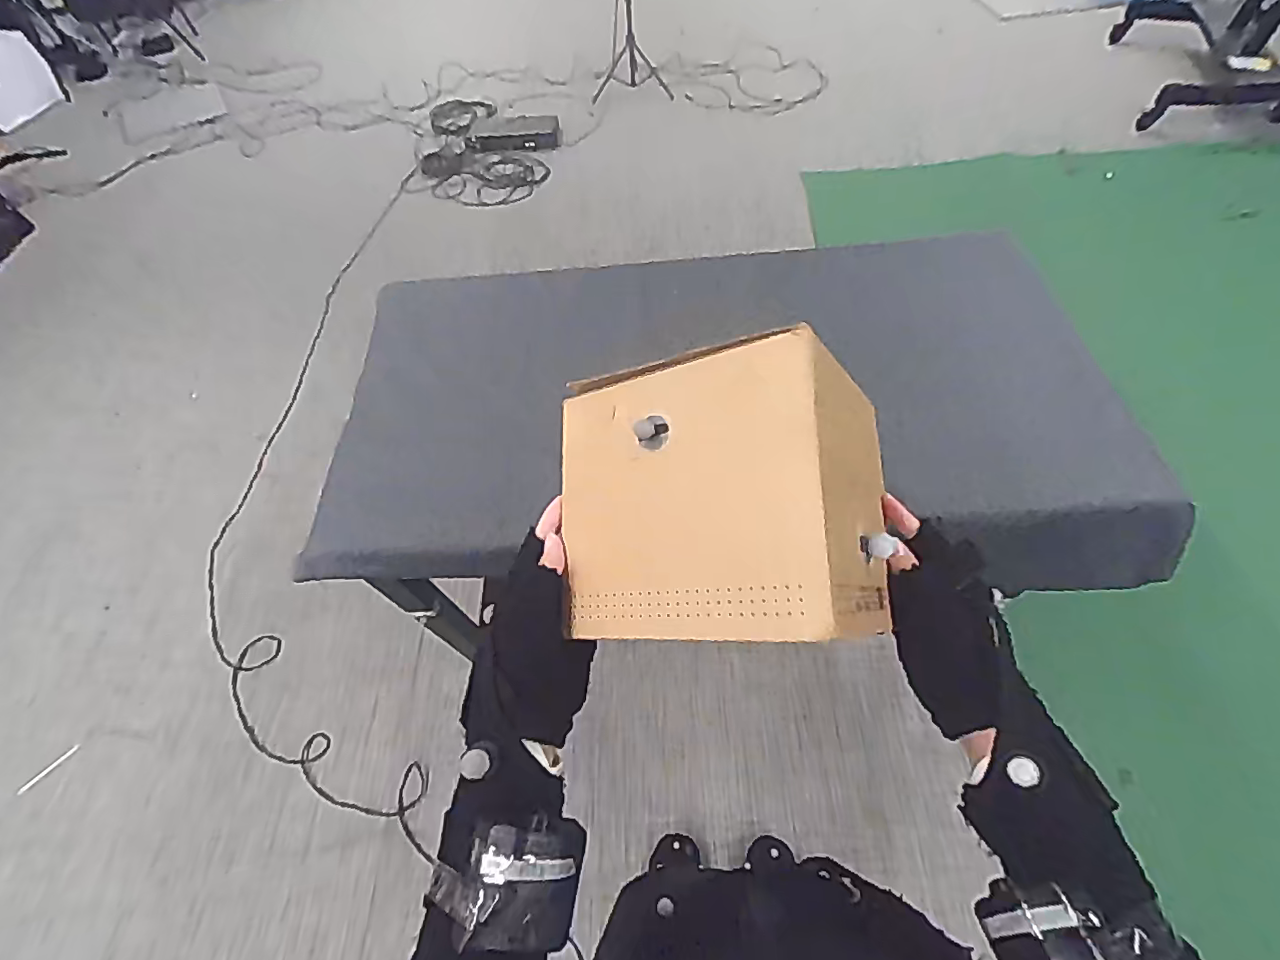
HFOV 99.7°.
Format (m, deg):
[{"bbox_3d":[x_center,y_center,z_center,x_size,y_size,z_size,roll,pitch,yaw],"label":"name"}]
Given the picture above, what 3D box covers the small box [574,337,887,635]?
[{"bbox_3d":[0.066,0.024,0.398,0.179,0.168,0.176,-9,76,34],"label":"small box"}]
